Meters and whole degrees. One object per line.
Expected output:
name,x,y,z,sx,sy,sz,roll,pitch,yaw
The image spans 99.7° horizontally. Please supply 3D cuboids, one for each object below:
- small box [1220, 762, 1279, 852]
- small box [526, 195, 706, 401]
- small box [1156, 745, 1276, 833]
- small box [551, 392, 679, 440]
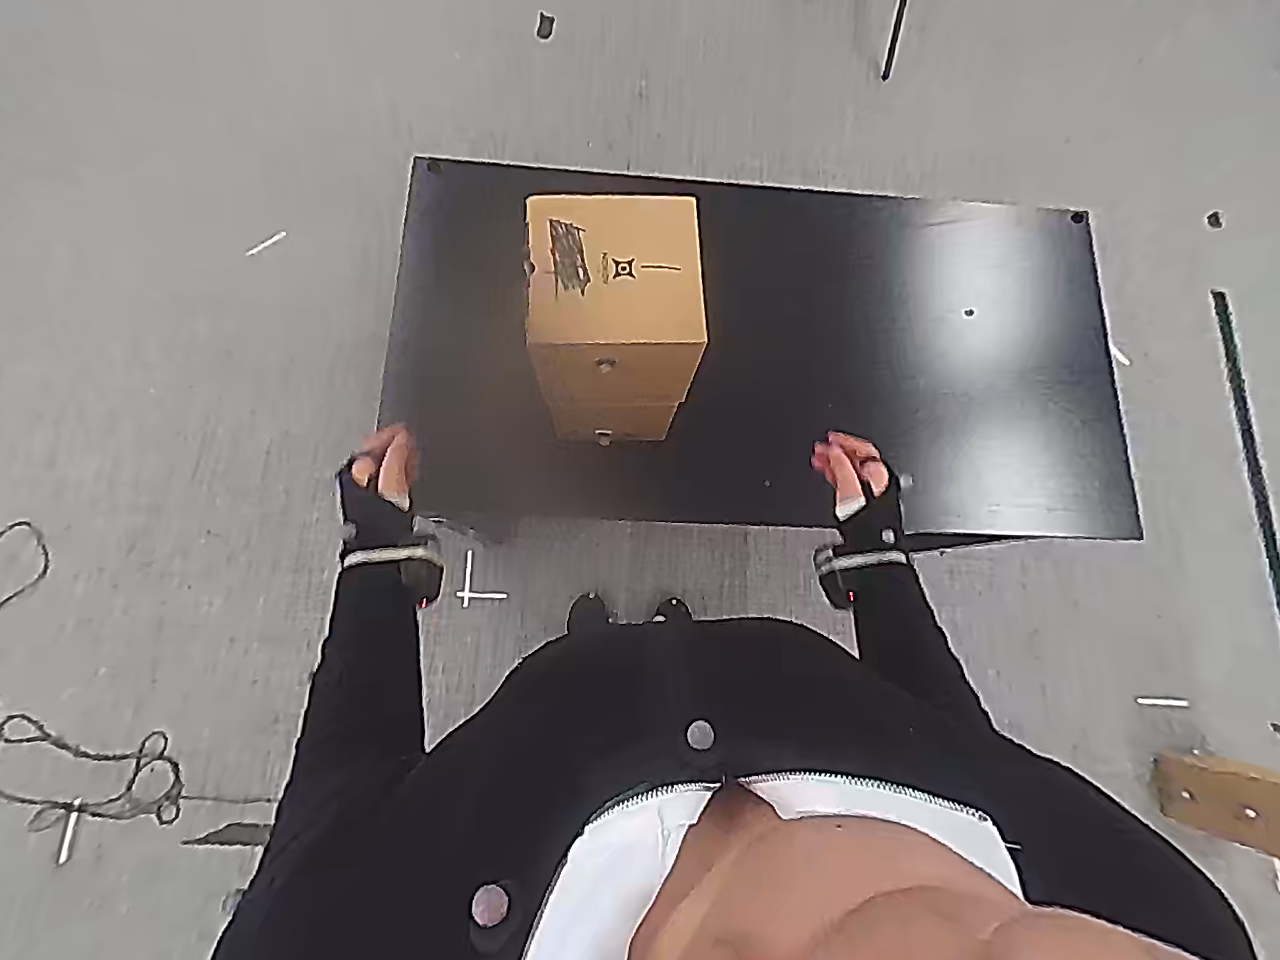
small box,1.542,0.783,1.273,0.179,0.176,0.168,8,78,-2
small box,-0.029,-0.194,0.616,0.179,0.176,0.168,-2,78,-5
small box,1.527,0.815,1.435,0.179,0.176,0.168,2,78,-3
small box,-0.039,-0.164,0.778,0.168,0.176,0.179,-2,79,-4
